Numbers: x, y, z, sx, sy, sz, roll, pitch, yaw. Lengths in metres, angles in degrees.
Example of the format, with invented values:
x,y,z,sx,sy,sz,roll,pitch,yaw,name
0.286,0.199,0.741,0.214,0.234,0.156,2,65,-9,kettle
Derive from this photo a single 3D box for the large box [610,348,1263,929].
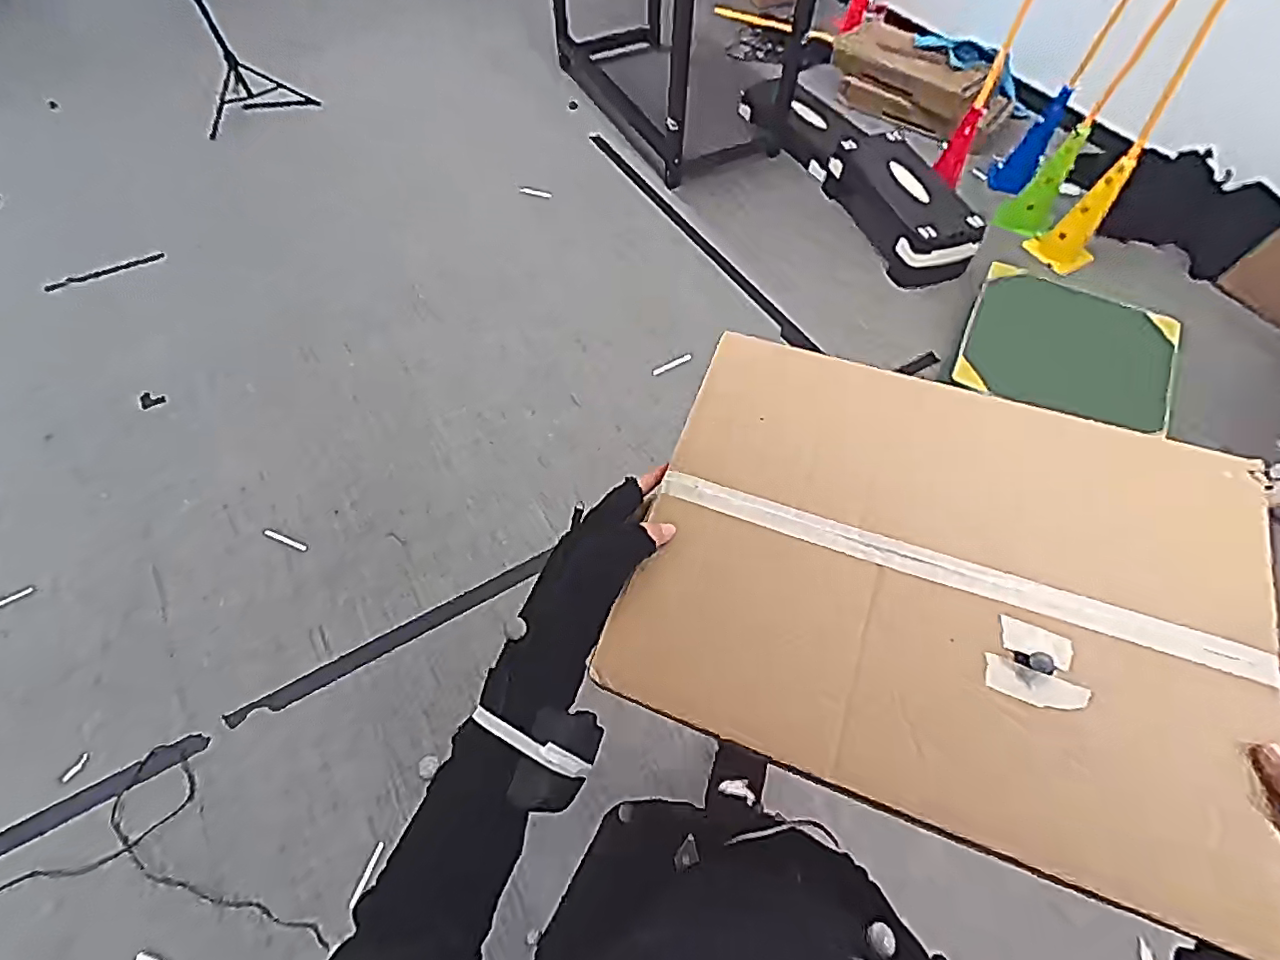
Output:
x,y,z,sx,sy,sz,roll,pitch,yaw,name
0.224,0.126,0.530,0.408,0.320,0.320,18,69,13,large box
